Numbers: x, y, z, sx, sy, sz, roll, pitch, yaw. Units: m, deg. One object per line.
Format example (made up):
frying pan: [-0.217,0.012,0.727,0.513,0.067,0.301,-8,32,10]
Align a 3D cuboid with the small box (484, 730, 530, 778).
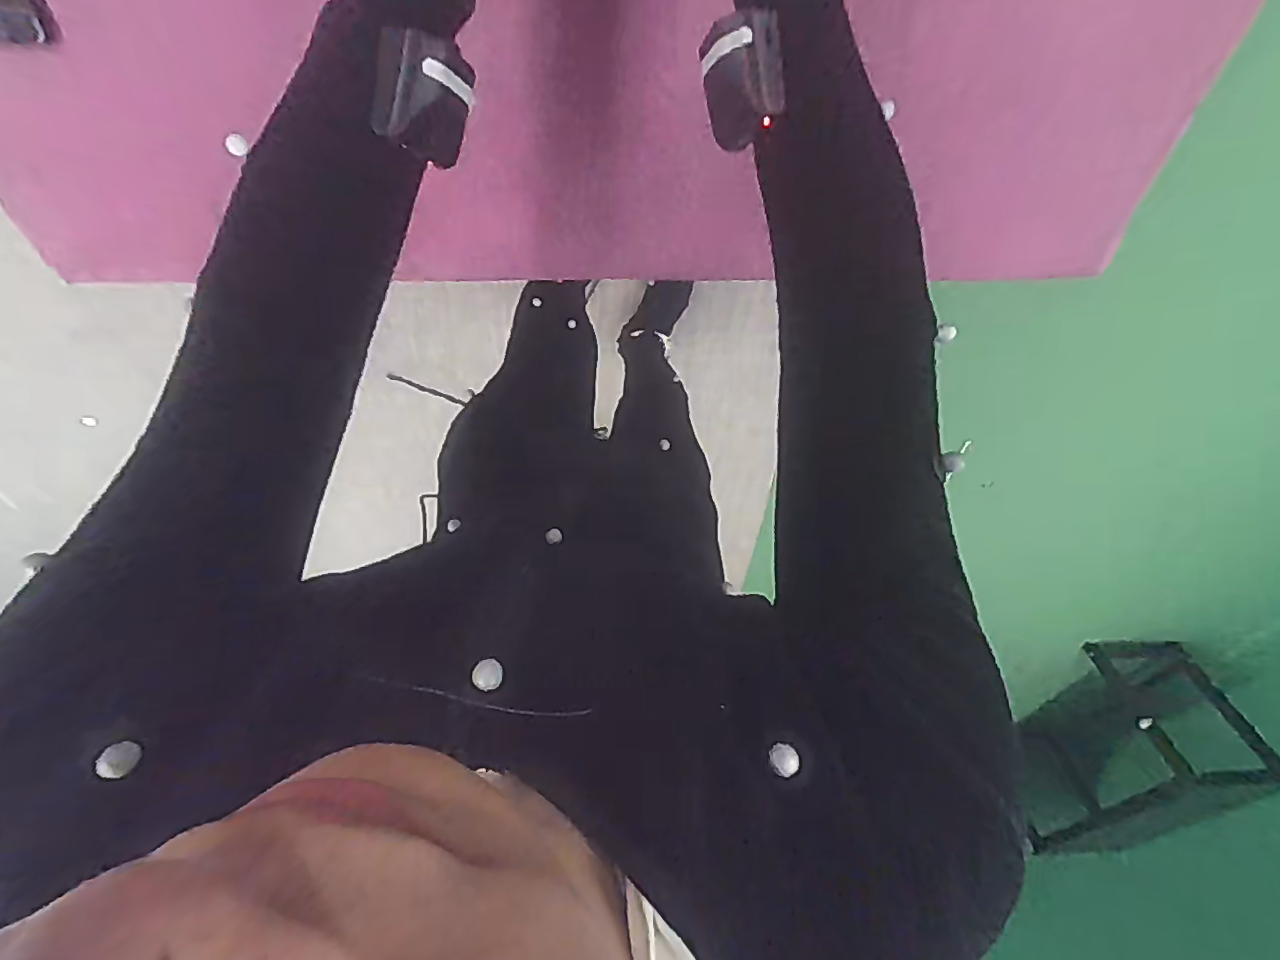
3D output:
small box: [-0.533,1.131,2.186,0.168,0.176,0.179,3,132,-9]
